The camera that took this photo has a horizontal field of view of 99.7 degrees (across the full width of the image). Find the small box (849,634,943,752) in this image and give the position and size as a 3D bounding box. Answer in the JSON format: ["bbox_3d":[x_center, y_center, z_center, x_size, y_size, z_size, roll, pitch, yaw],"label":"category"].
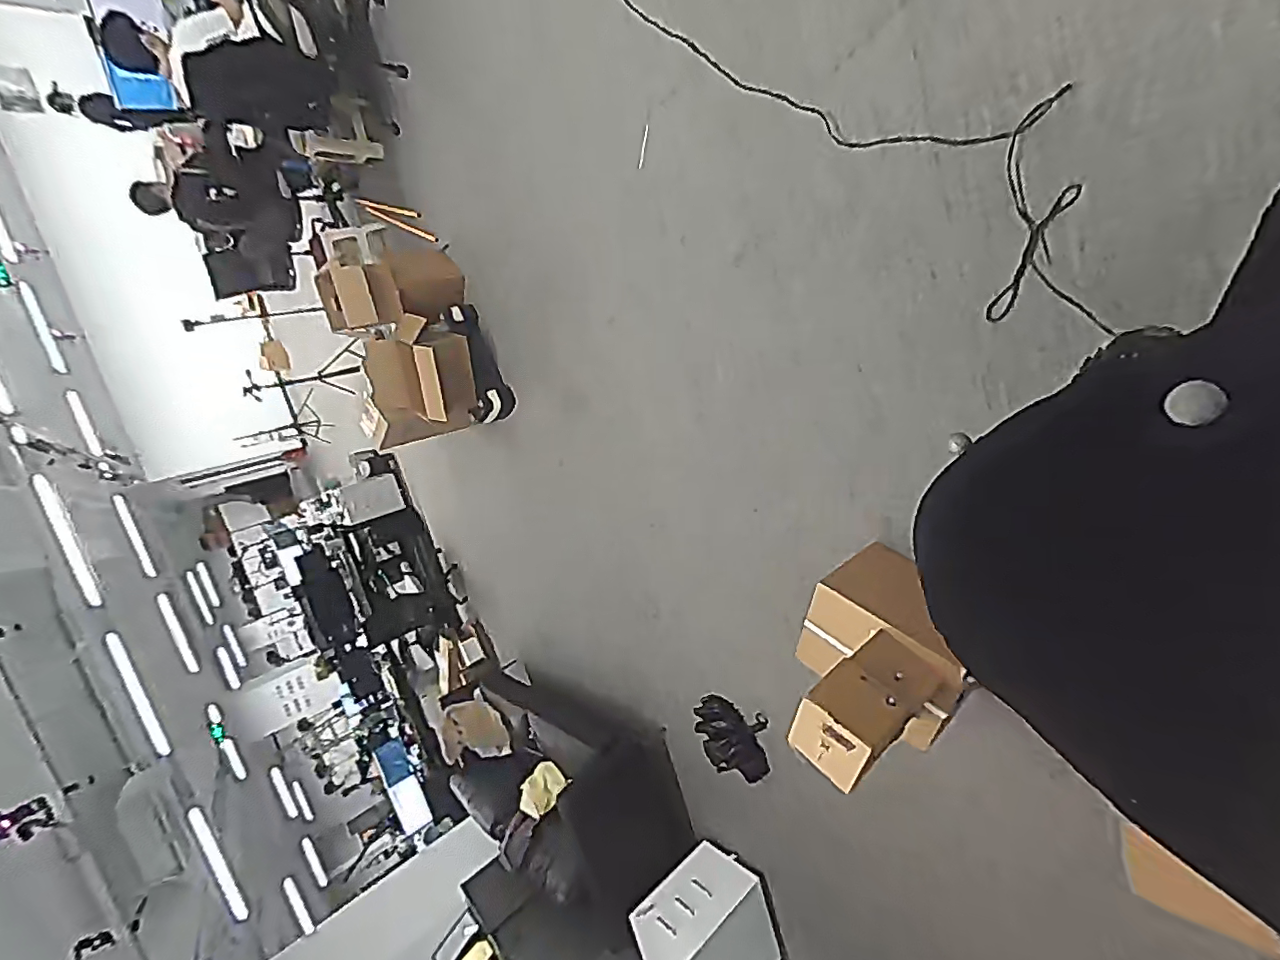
[{"bbox_3d":[0.602,0.513,1.323,0.179,0.176,0.168,38,136,37],"label":"small box"}]

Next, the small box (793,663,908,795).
[{"bbox_3d":[0.476,0.551,1.219,0.168,0.176,0.179,32,129,40],"label":"small box"}]
